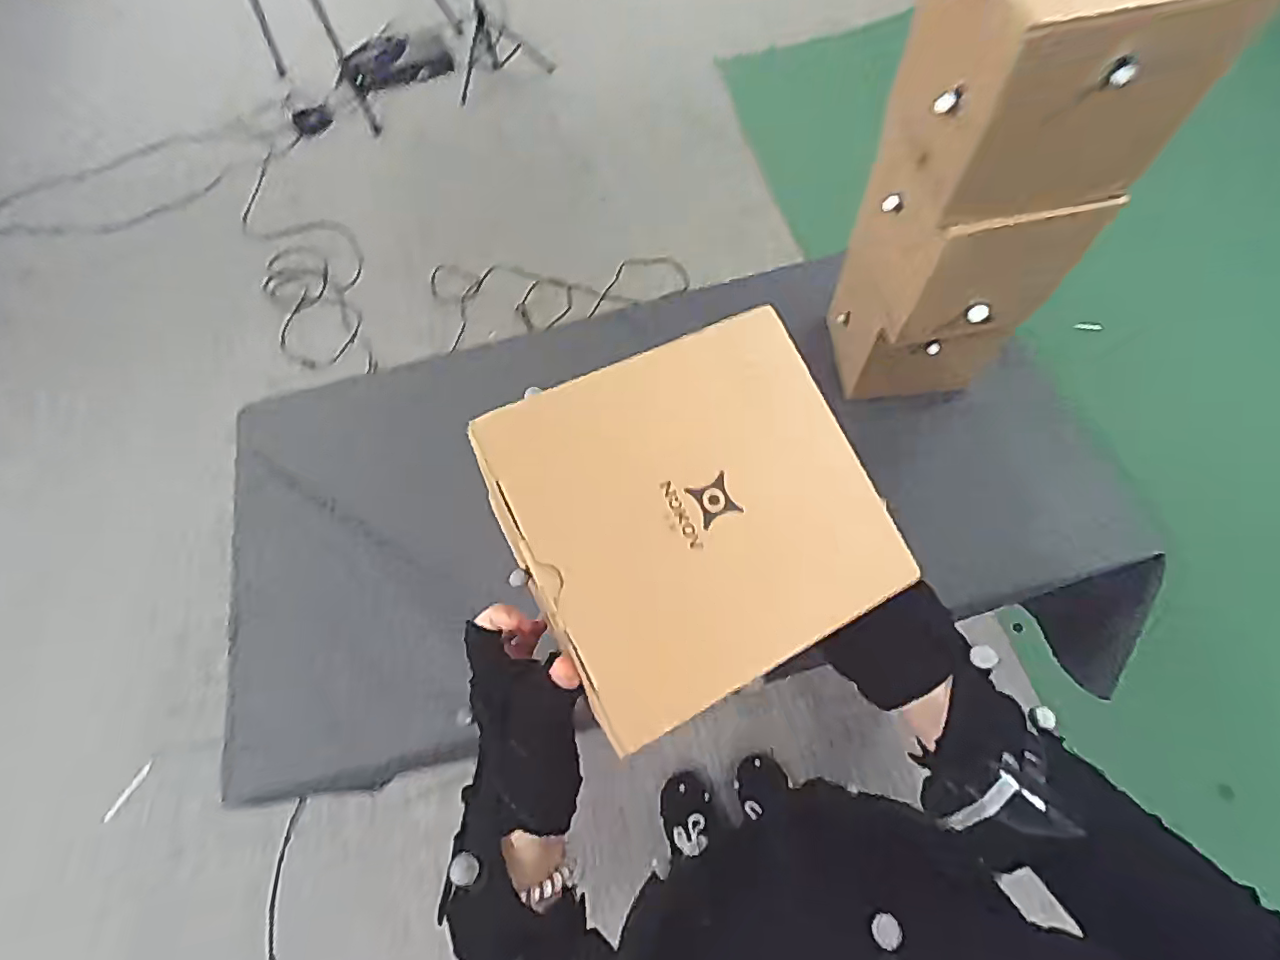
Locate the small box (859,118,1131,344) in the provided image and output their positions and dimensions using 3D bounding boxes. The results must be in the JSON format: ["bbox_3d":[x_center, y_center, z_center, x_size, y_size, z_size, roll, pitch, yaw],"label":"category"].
[{"bbox_3d":[0.365,-0.281,0.603,0.168,0.176,0.179,-10,66,2],"label":"small box"}]

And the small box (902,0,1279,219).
[{"bbox_3d":[0.345,-0.349,0.456,0.179,0.176,0.168,-7,66,3],"label":"small box"}]

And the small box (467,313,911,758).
[{"bbox_3d":[0.014,0.032,0.339,0.179,0.176,0.168,-26,82,-15],"label":"small box"}]

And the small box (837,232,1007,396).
[{"bbox_3d":[0.387,-0.231,0.759,0.179,0.176,0.168,-4,66,4],"label":"small box"}]
